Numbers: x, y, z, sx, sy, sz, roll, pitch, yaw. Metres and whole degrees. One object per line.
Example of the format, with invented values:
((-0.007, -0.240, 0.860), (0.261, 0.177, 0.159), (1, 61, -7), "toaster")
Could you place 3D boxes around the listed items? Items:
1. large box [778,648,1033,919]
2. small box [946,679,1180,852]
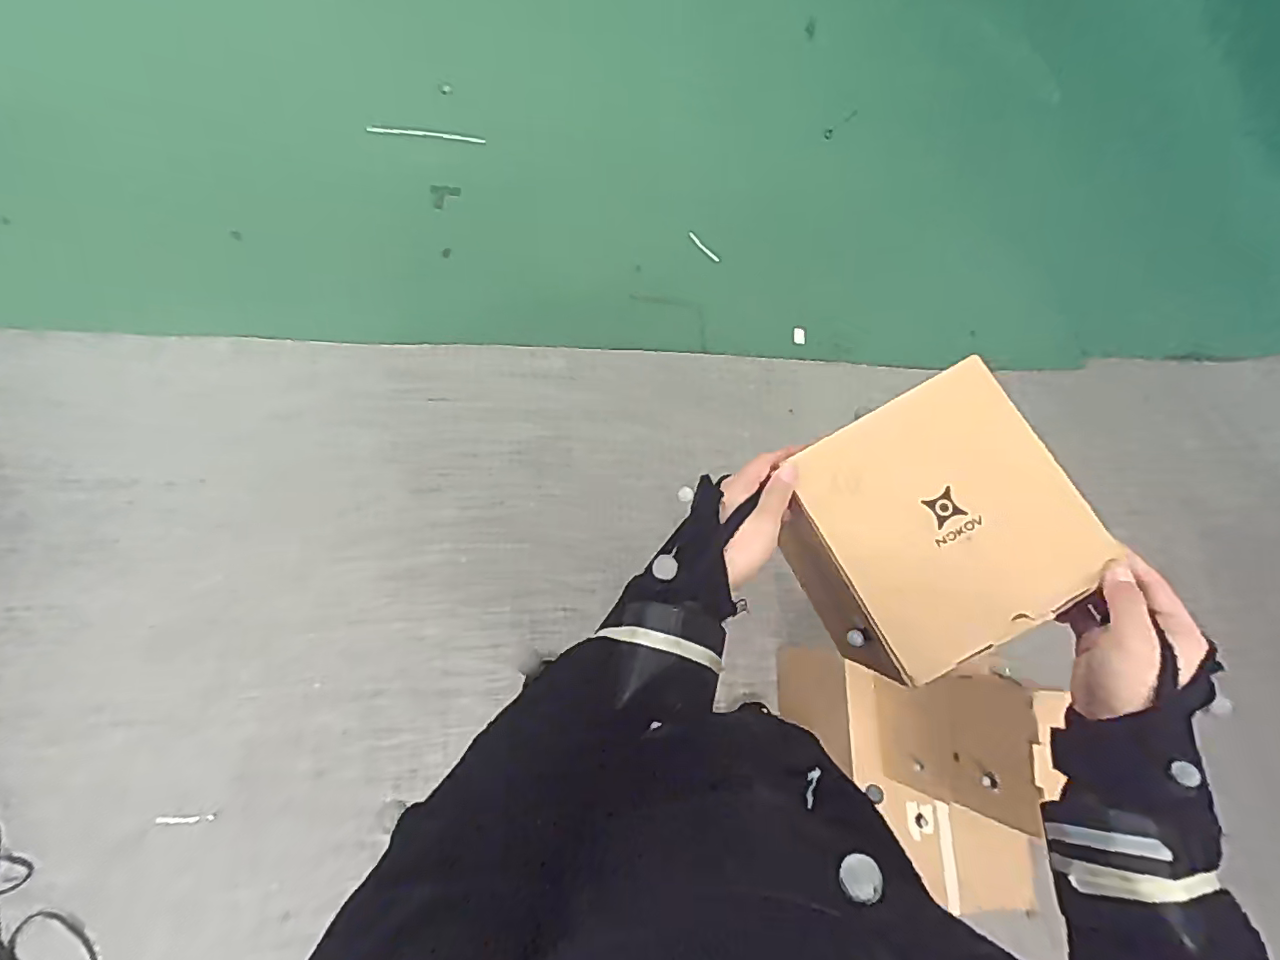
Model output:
((0.484, 0.550, 1.071), (0.320, 0.320, 0.408), (4, 74, -7), "large box")
((0.527, 0.357, 0.705), (0.179, 0.176, 0.168), (7, 75, -8), "small box")
